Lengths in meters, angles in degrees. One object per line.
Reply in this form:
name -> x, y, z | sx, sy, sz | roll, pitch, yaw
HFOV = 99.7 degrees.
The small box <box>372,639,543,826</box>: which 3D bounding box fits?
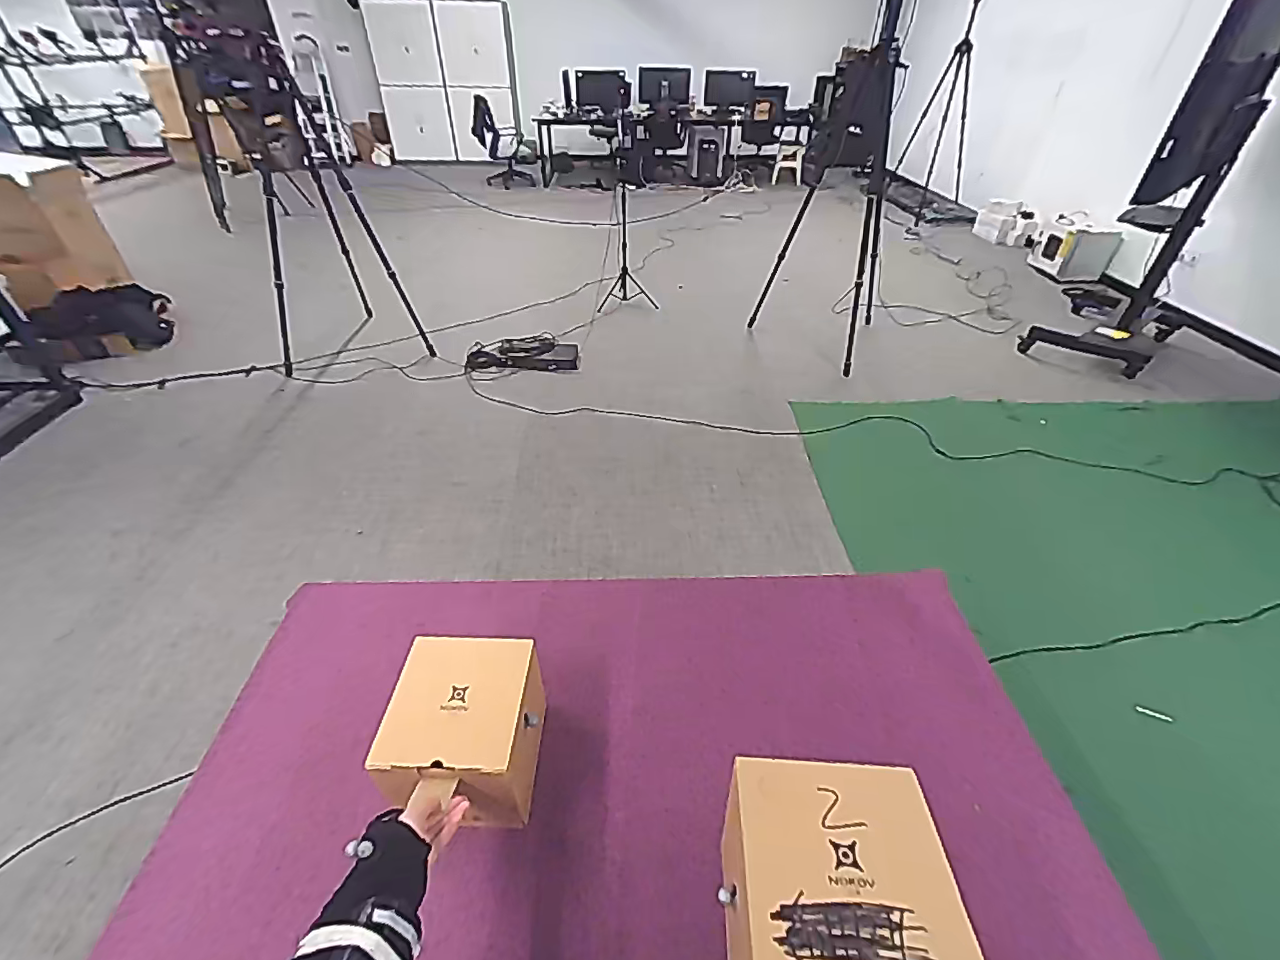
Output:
small box -> -0.232, 0.343, 0.742 | 0.168, 0.176, 0.179 | 2, 40, 1
